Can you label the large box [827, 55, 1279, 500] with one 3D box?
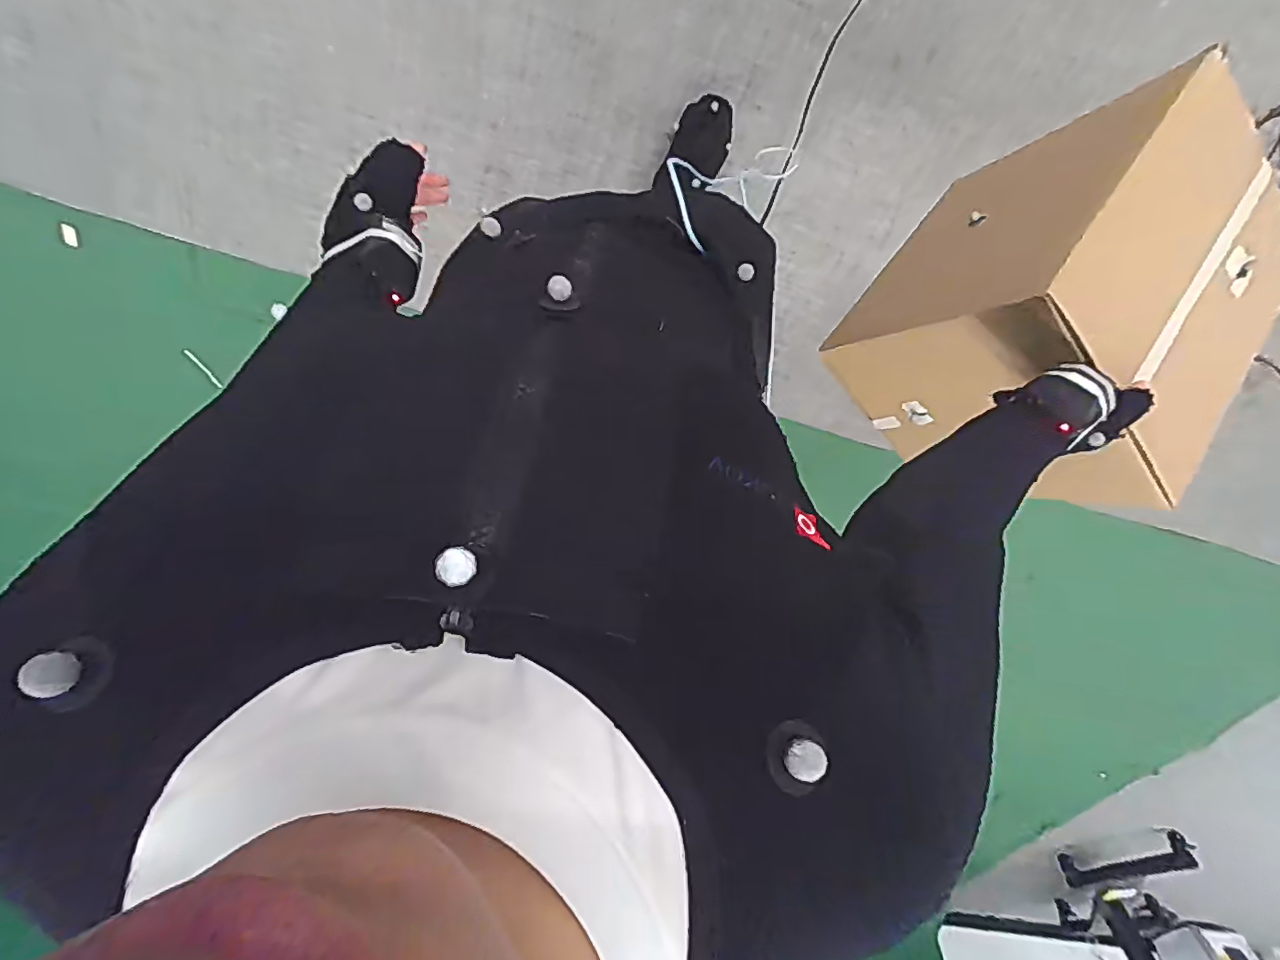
[{"bbox_3d":[0.542,-0.226,0.736,0.320,0.320,0.408,44,76,-19],"label":"large box"}]
